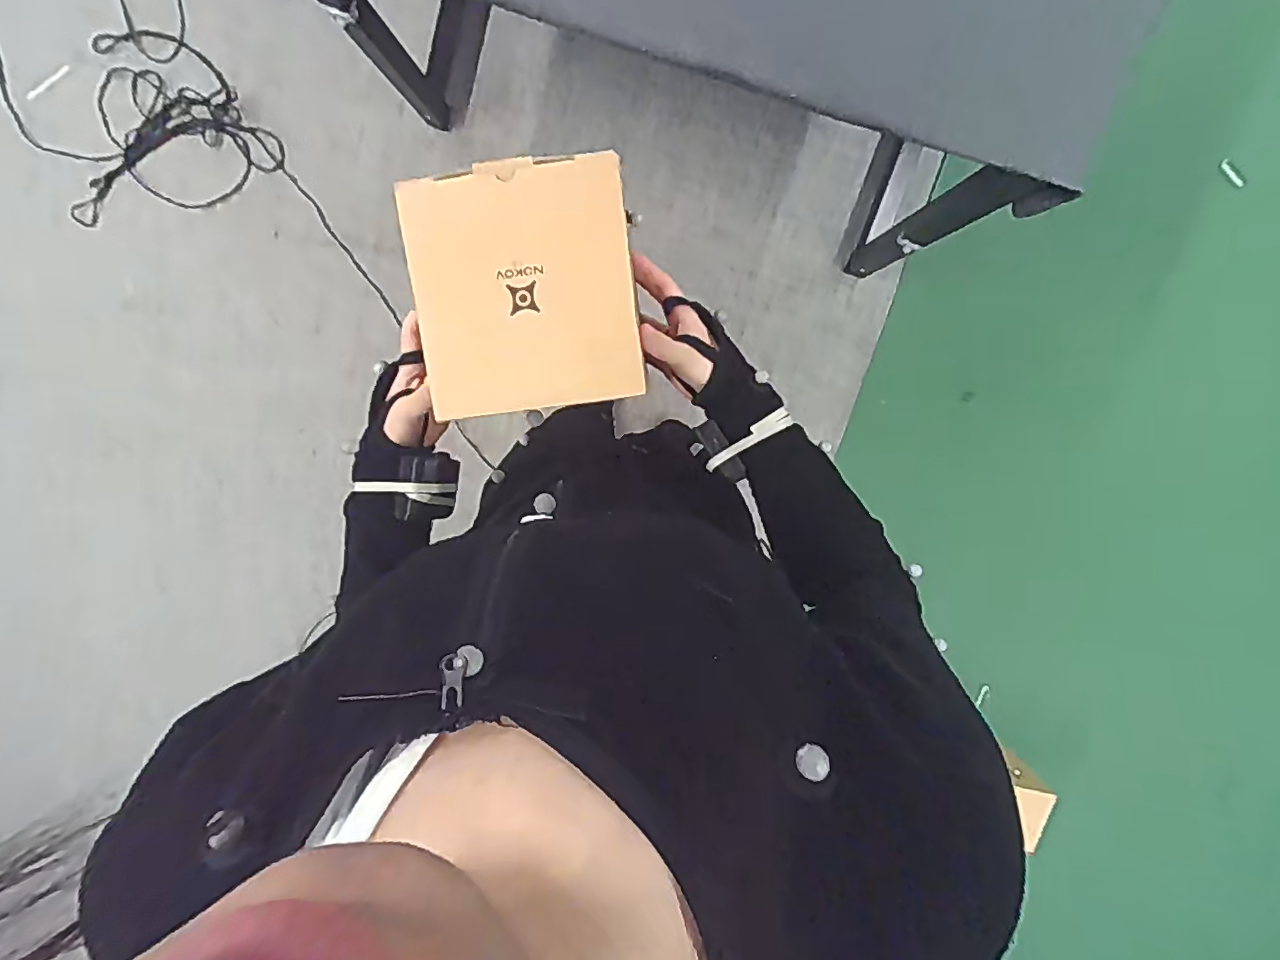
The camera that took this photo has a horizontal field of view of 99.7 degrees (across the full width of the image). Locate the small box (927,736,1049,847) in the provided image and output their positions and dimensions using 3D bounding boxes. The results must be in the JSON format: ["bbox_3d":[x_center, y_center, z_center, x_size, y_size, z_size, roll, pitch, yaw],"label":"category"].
[{"bbox_3d":[0.880,0.786,1.383,0.179,0.176,0.168,14,99,-2],"label":"small box"}]

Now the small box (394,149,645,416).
[{"bbox_3d":[-0.087,-0.156,0.481,0.168,0.176,0.179,-7,98,3],"label":"small box"}]
